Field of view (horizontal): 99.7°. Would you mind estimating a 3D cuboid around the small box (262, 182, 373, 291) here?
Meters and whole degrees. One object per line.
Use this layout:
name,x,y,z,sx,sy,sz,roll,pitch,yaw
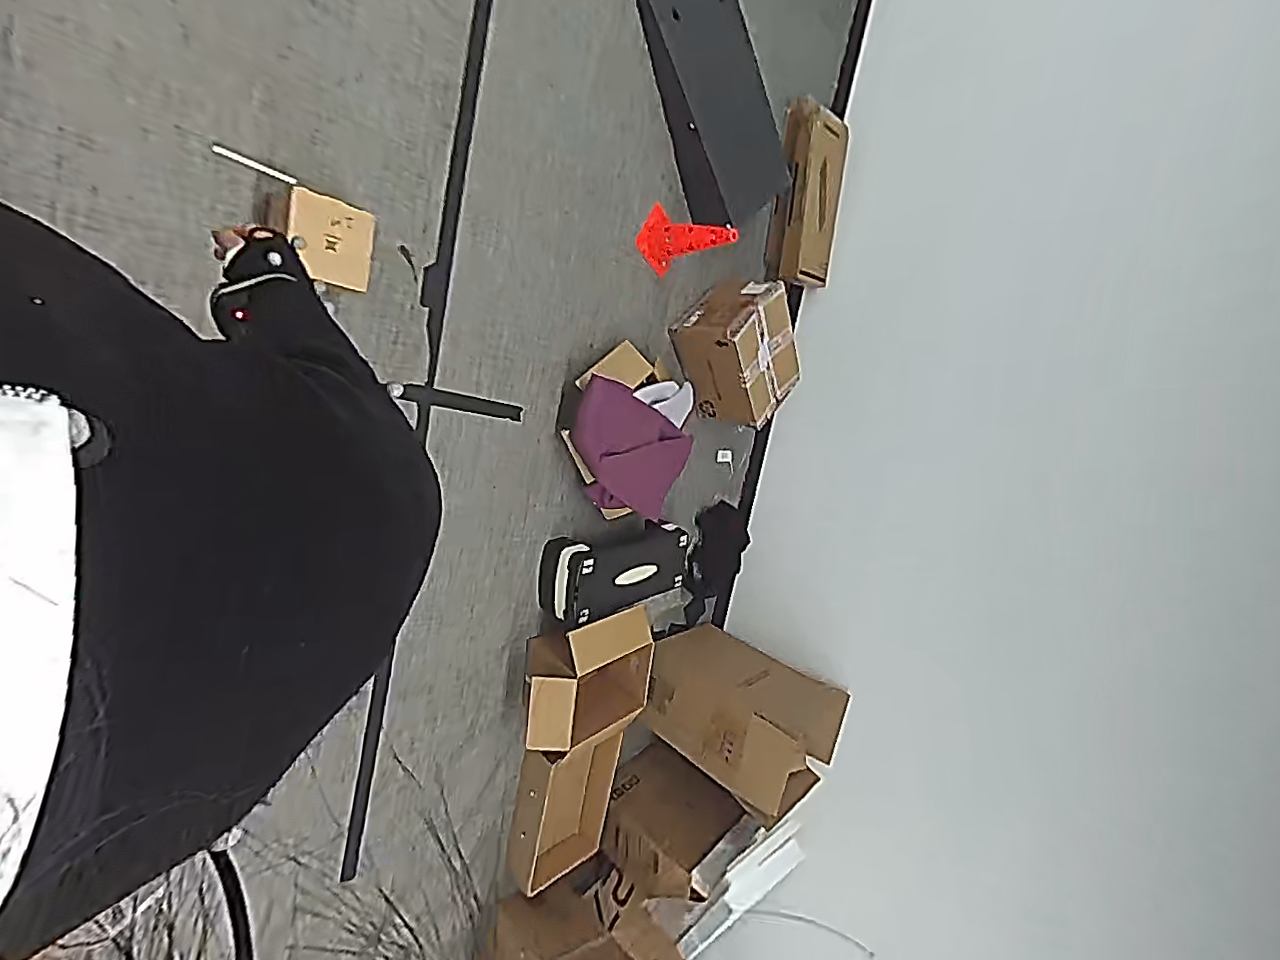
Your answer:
small box,-0.730,-0.538,1.219,0.168,0.176,0.179,3,101,-49
